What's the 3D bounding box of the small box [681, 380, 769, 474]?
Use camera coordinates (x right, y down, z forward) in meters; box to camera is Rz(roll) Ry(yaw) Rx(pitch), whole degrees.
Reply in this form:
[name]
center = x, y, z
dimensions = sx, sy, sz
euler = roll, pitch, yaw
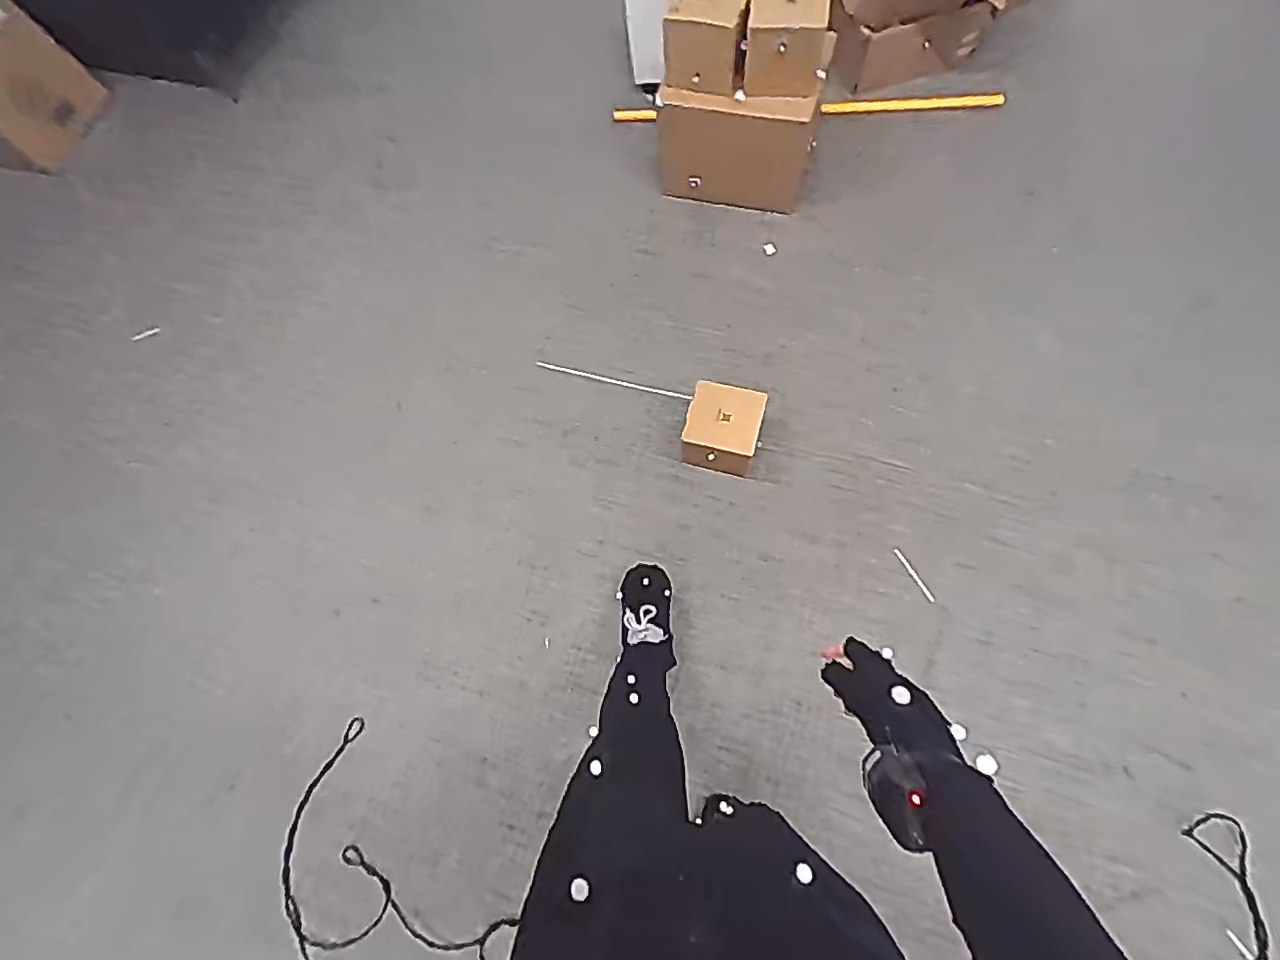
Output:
[small box]
center = 0.209, -0.124, 1.341
dimensions = 0.179, 0.176, 0.168
euler = 13, 76, 11
